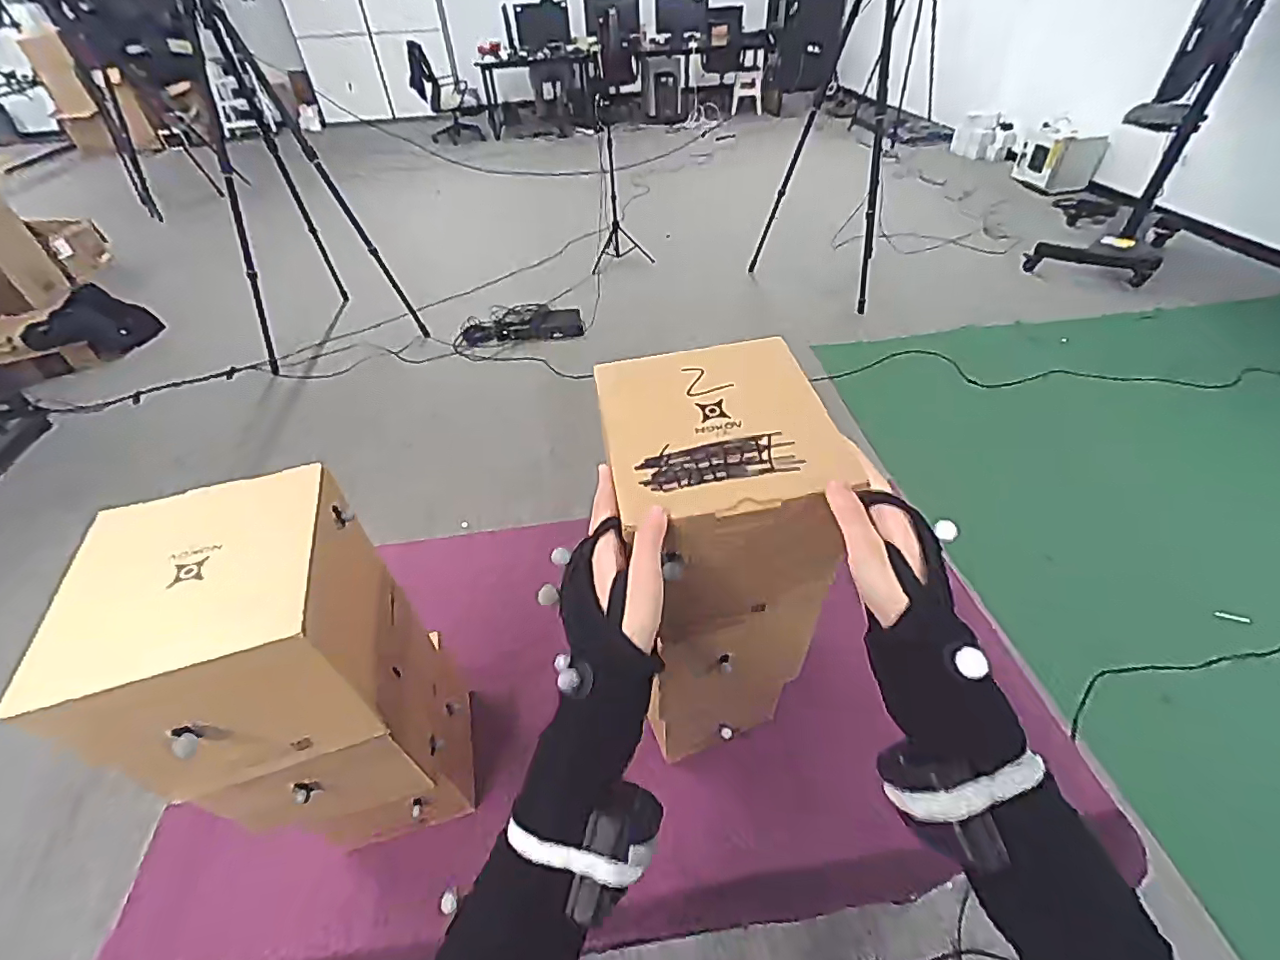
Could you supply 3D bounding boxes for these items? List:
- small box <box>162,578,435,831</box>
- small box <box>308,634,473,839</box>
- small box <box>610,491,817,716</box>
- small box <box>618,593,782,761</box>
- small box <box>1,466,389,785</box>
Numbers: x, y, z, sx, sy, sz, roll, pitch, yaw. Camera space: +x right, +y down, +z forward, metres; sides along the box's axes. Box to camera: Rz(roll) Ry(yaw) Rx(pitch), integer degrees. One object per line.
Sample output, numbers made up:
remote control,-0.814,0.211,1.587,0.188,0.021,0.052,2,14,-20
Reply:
small box,-0.322,0.232,0.562,0.179,0.176,0.168,-12,44,-9
small box,-0.317,0.332,0.693,0.168,0.176,0.179,-11,43,-9
small box,0.075,0.143,0.621,0.179,0.176,0.168,-13,45,-9
small box,0.076,0.249,0.749,0.168,0.176,0.179,-17,45,-12
small box,-0.318,0.121,0.442,0.168,0.176,0.179,-14,44,-12
